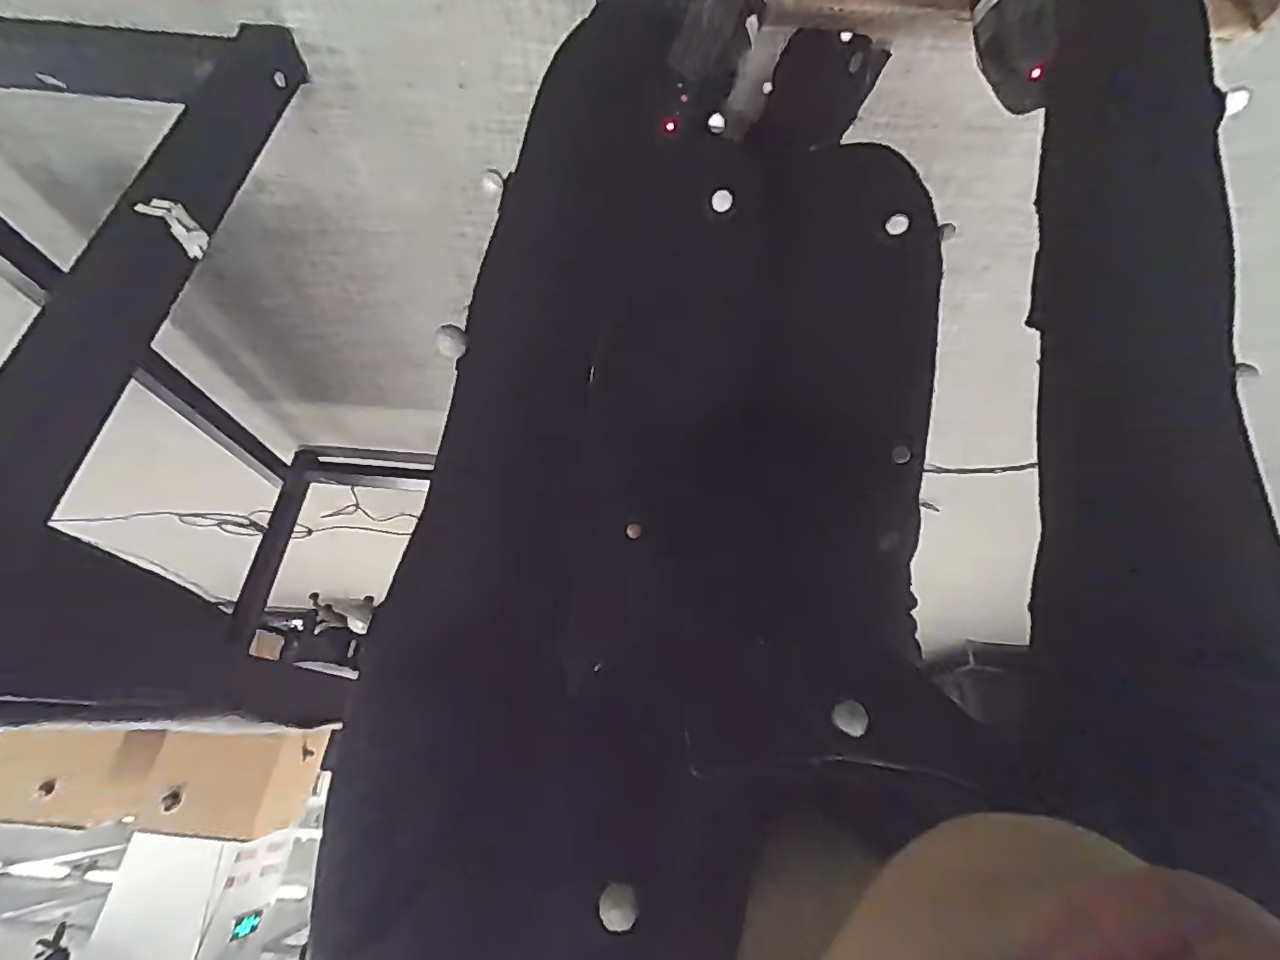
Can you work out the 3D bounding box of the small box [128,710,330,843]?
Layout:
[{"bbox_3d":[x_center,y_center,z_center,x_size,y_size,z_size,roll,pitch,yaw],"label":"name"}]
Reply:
[{"bbox_3d":[-0.646,0.470,0.877,0.179,0.176,0.168,6,154,-3],"label":"small box"}]

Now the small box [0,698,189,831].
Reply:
[{"bbox_3d":[-0.874,0.445,0.863,0.179,0.176,0.168,6,154,-4],"label":"small box"}]
